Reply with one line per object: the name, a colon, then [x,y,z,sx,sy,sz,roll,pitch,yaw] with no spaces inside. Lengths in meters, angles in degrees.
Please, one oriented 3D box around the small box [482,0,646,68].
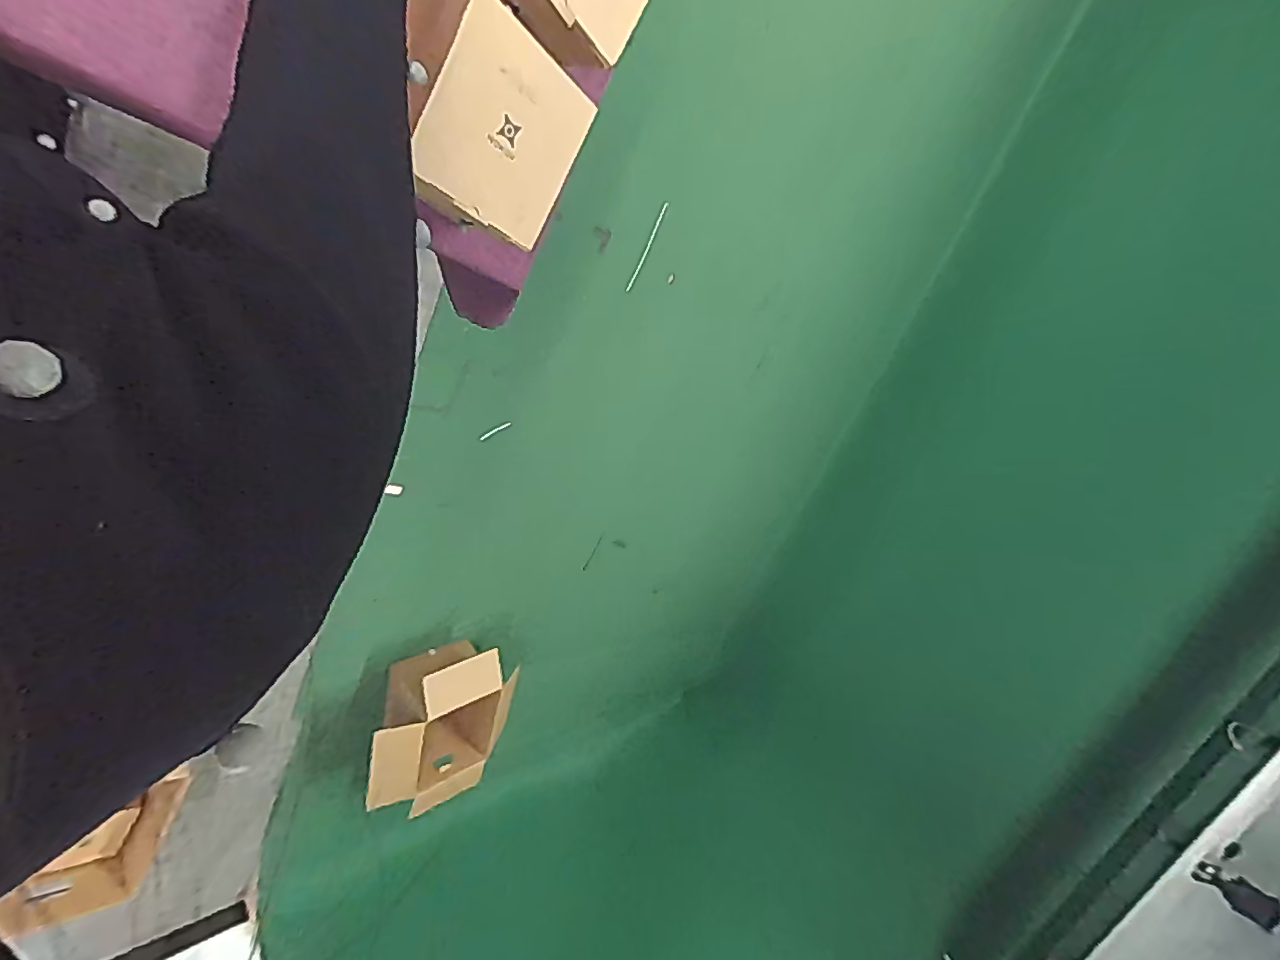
small box: [-0.089,-0.574,0.558,0.168,0.176,0.179,20,103,-54]
